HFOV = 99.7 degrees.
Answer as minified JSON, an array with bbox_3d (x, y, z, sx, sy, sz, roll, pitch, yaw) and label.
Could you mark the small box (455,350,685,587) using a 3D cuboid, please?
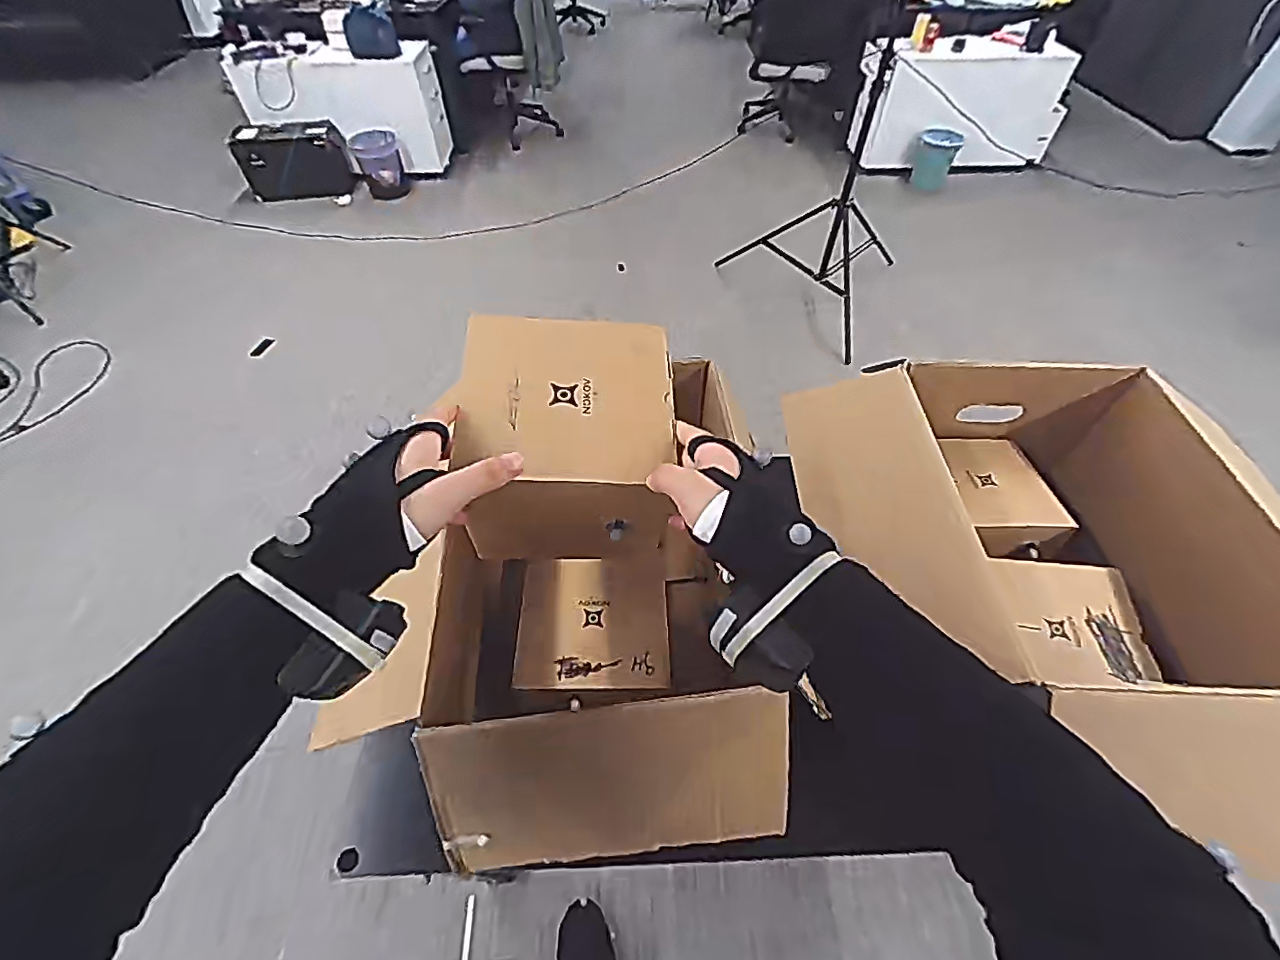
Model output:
[{"bbox_3d":[-0.062,-0.002,0.514,0.179,0.176,0.168,0,61,-6],"label":"small box"}]
